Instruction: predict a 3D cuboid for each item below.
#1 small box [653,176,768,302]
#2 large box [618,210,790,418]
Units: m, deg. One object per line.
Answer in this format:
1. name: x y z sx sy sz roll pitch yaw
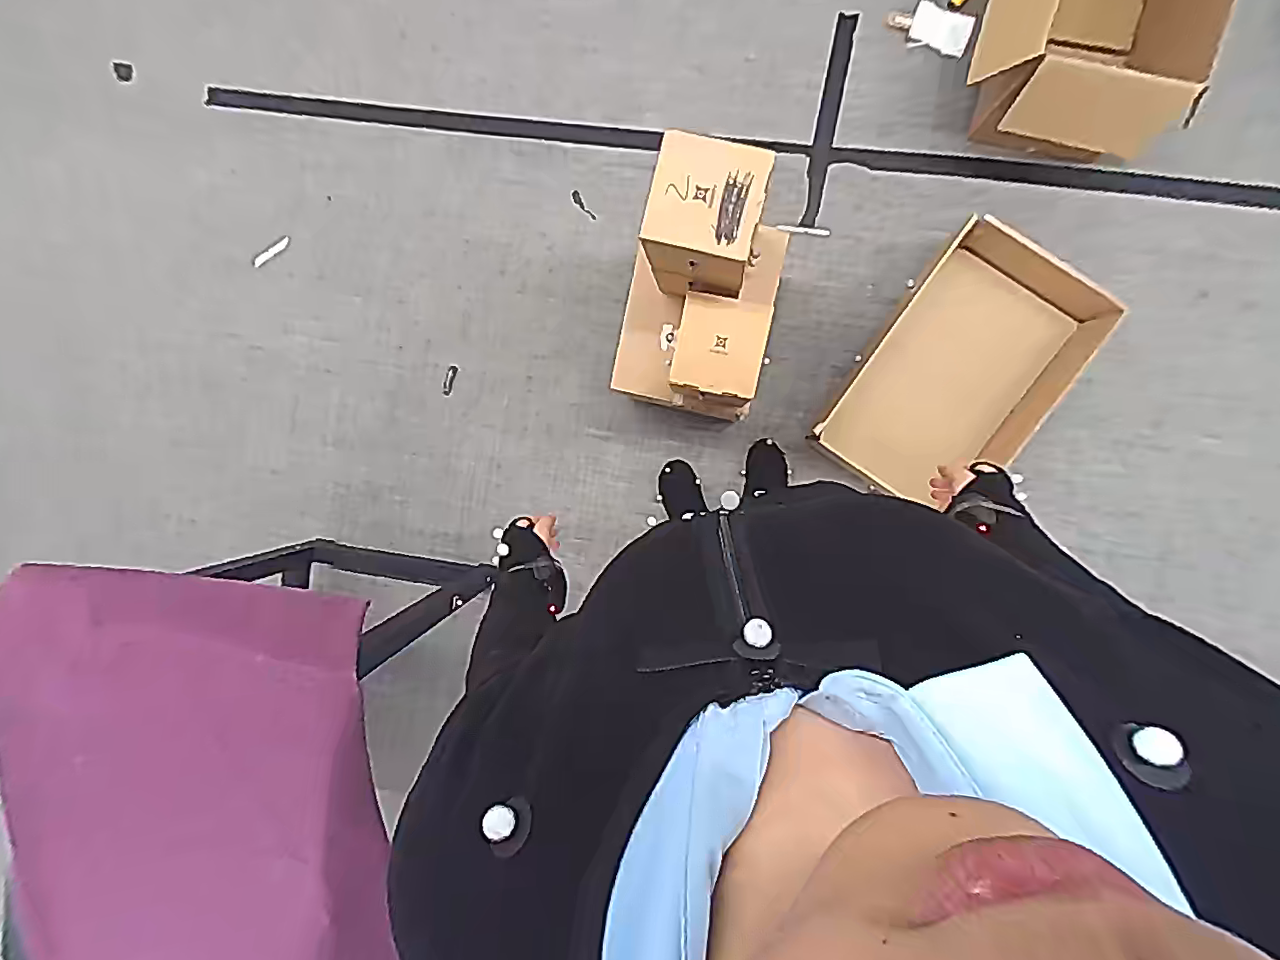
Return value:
1. small box: 0.136 -0.461 1.060 0.179 0.176 0.168 15 98 5
2. large box: 0.150 -0.376 1.314 0.320 0.320 0.408 12 97 7
